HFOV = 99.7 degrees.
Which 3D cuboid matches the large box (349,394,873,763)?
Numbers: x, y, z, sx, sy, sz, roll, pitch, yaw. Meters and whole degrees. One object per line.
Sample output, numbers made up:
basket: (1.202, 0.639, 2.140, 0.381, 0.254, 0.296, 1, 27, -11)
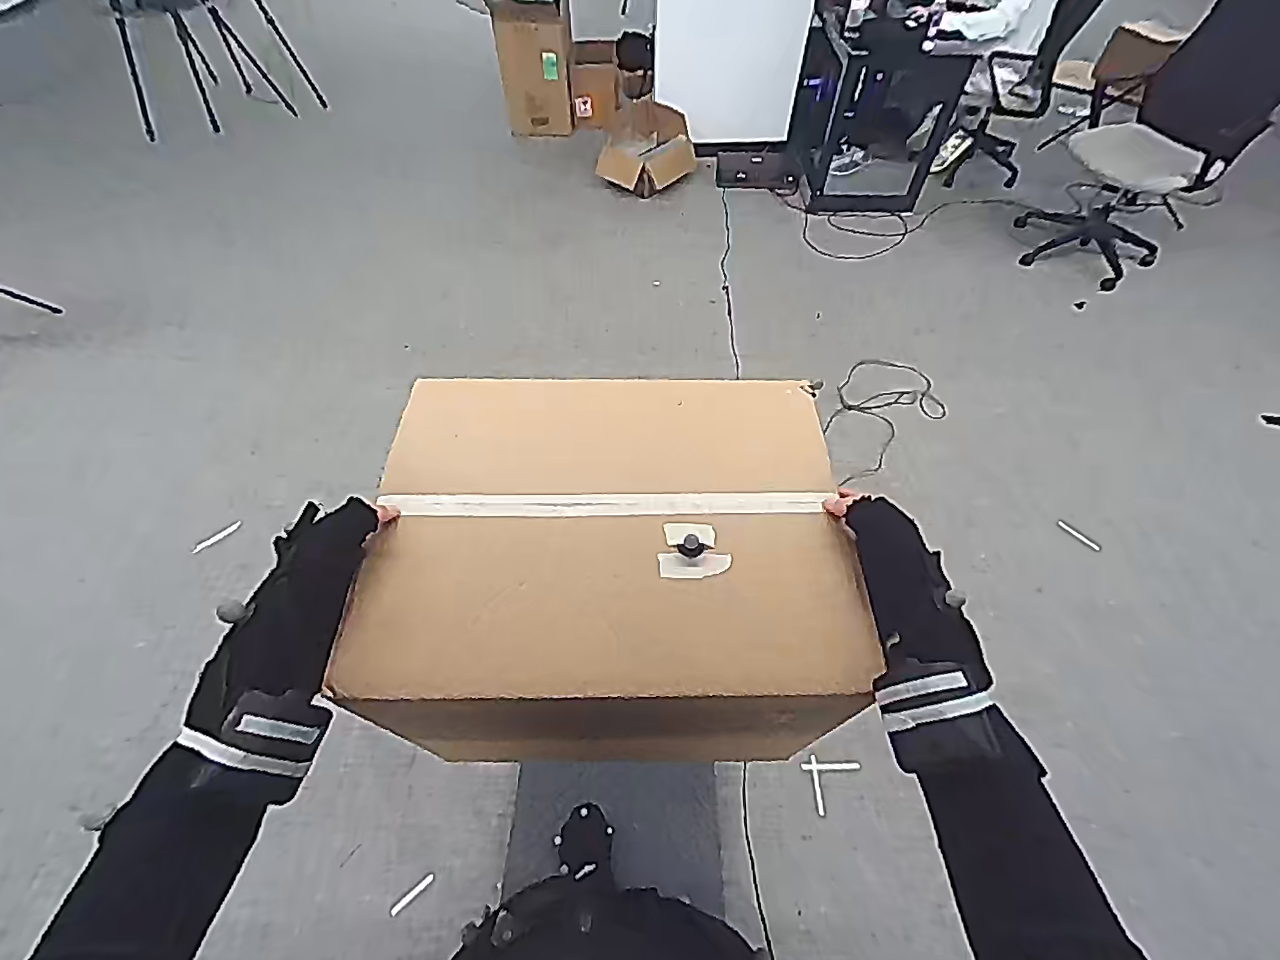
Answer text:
large box: (-0.027, 0.119, 0.610, 0.408, 0.320, 0.320, 0, 55, -1)
